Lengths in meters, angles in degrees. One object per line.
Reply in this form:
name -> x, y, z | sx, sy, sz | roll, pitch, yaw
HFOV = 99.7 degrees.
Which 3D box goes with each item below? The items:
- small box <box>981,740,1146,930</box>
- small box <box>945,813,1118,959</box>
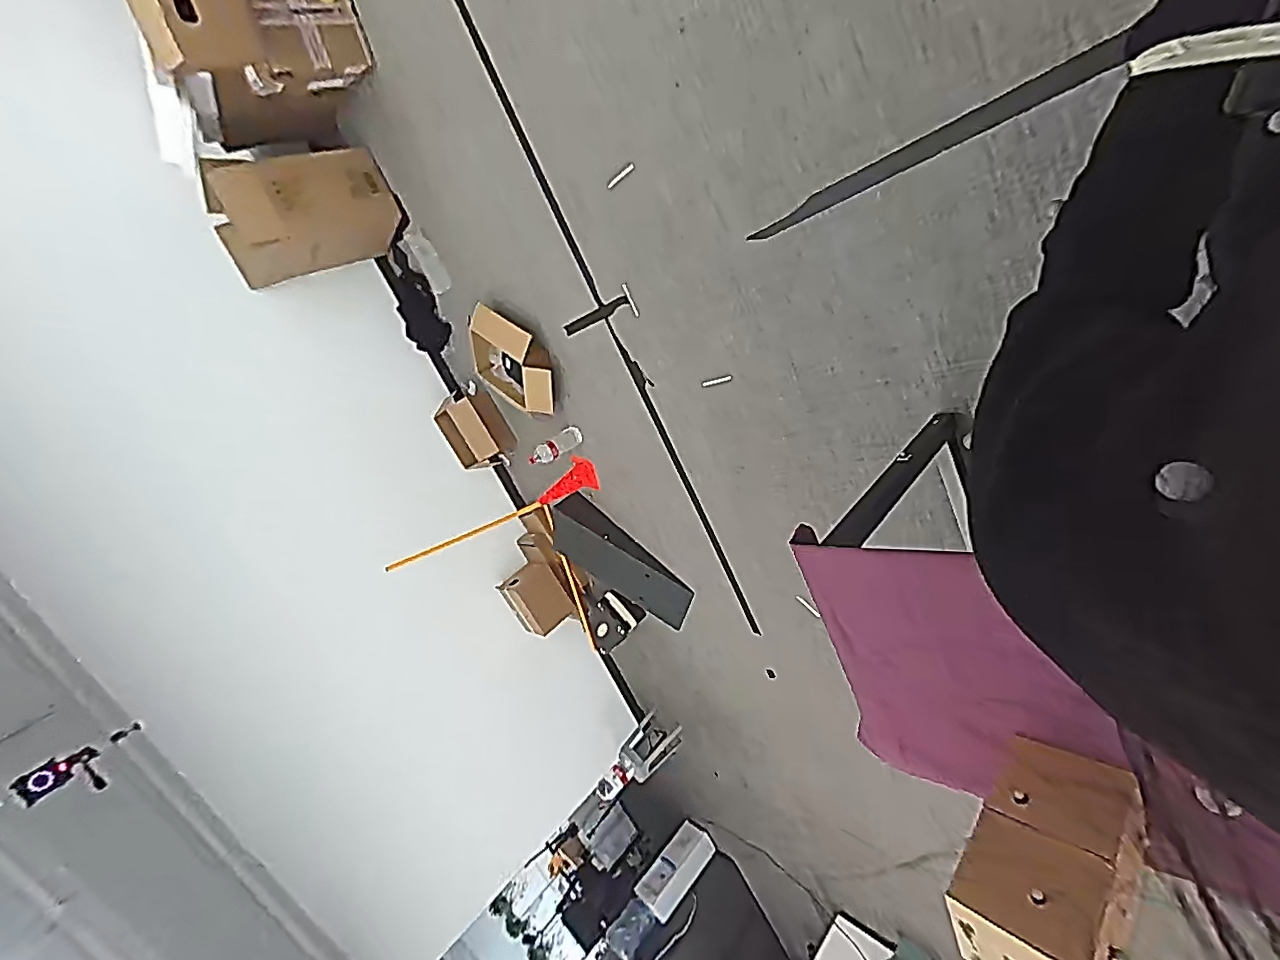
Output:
small box -> 0.708, 0.573, 0.904 | 0.179, 0.176, 0.168 | 1, 120, 52
small box -> 0.596, 0.655, 0.816 | 0.179, 0.176, 0.168 | 3, 121, 51
